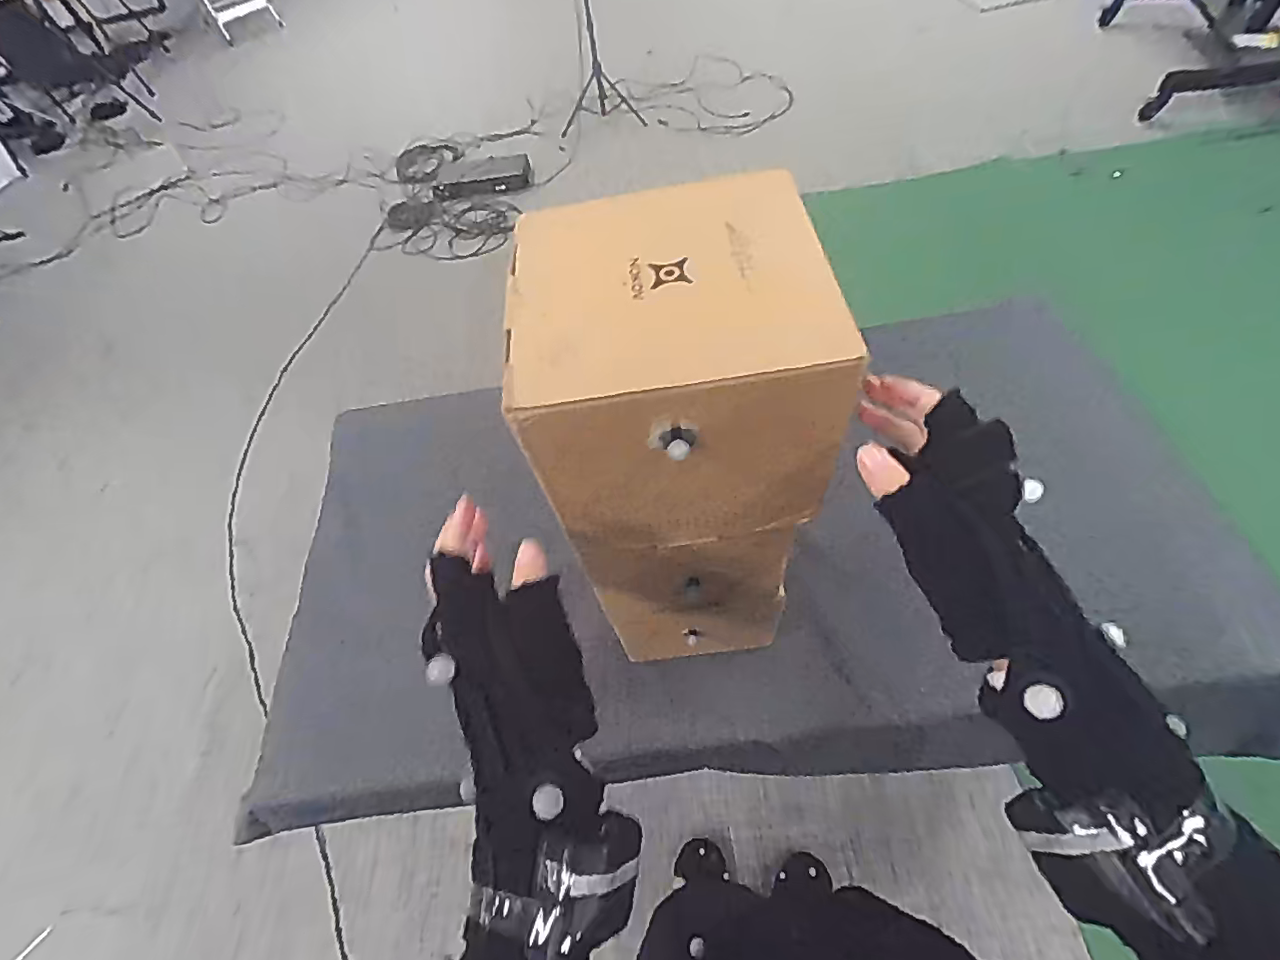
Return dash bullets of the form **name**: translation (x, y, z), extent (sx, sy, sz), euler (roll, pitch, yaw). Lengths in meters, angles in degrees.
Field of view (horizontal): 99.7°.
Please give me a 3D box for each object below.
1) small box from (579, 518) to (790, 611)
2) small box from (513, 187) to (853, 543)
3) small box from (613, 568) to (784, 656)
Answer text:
- **small box**: translation (0.037, 0.015, 0.519), extent (0.168, 0.176, 0.179), euler (-9, 57, 3)
- **small box**: translation (0.024, -0.068, 0.379), extent (0.179, 0.176, 0.168), euler (-8, 58, 3)
- **small box**: translation (0.062, 0.102, 0.654), extent (0.179, 0.176, 0.168), euler (-9, 56, 4)
